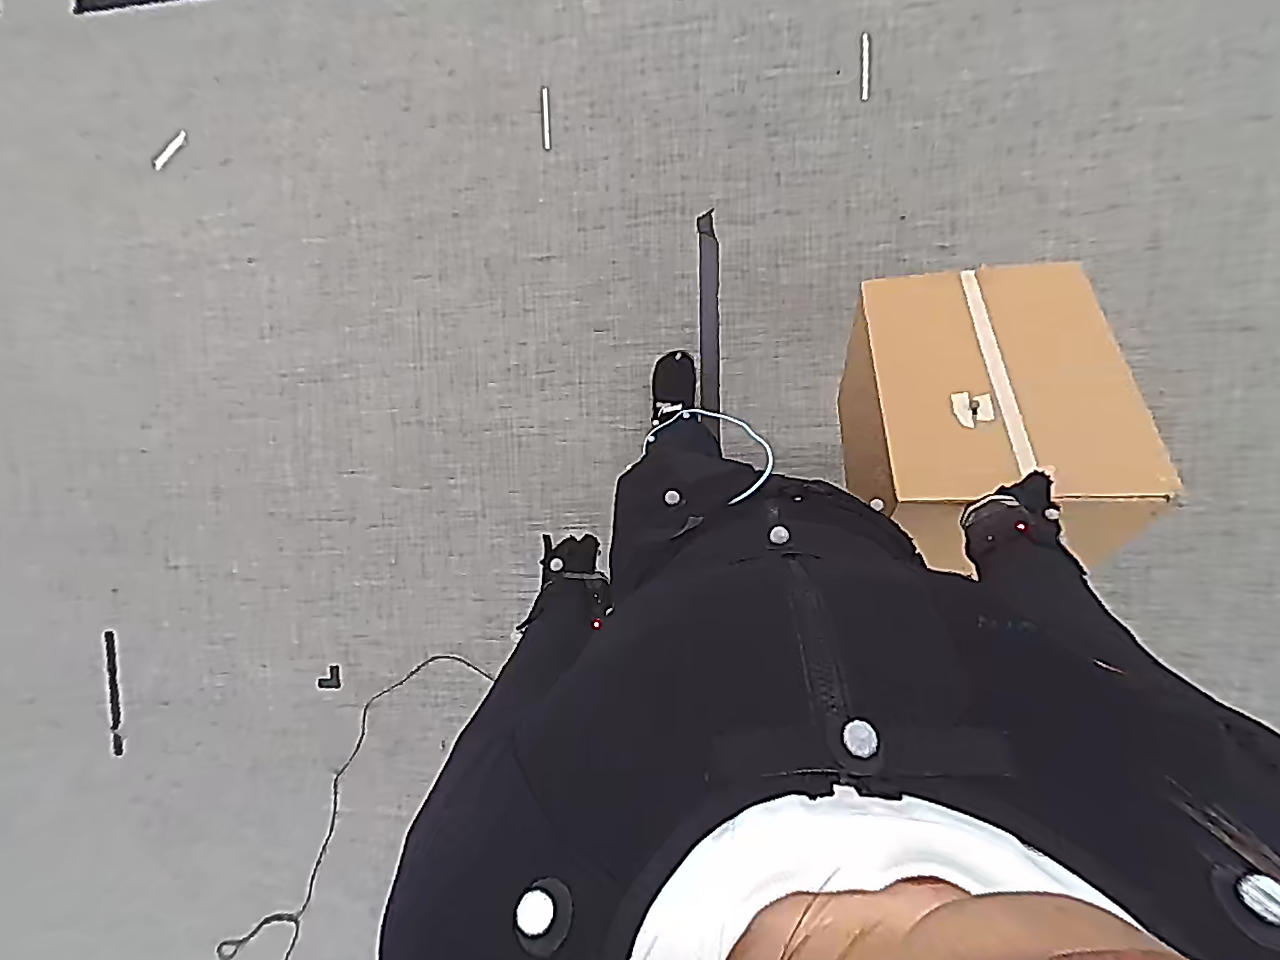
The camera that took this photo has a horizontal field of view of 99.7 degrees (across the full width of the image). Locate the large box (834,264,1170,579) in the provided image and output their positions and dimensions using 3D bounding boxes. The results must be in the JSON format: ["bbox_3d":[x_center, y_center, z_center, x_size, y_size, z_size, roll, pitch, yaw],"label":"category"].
[{"bbox_3d":[0.511,-0.076,0.879,0.320,0.320,0.408,-3,62,13],"label":"large box"}]
